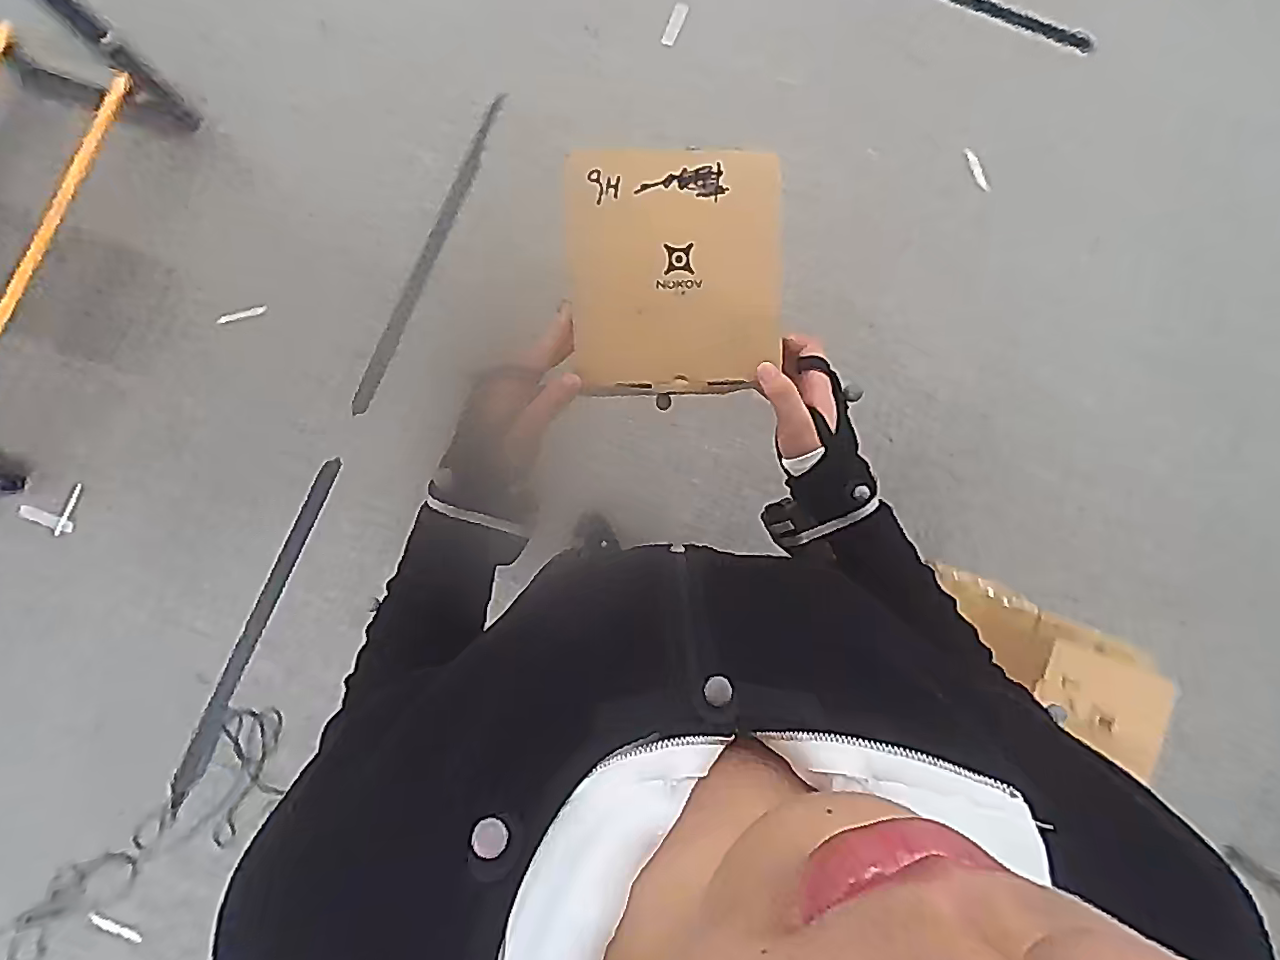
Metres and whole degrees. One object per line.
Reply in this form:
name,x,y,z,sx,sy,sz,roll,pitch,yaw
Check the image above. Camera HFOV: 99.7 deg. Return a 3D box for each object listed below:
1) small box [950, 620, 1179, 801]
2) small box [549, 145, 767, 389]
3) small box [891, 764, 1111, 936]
small box,0.603,0.319,0.790,0.179,0.176,0.168,21,85,2
small box,0.011,-0.175,0.497,0.168,0.176,0.179,-4,97,-5
small box,0.497,0.538,0.769,0.179,0.176,0.168,22,82,3
